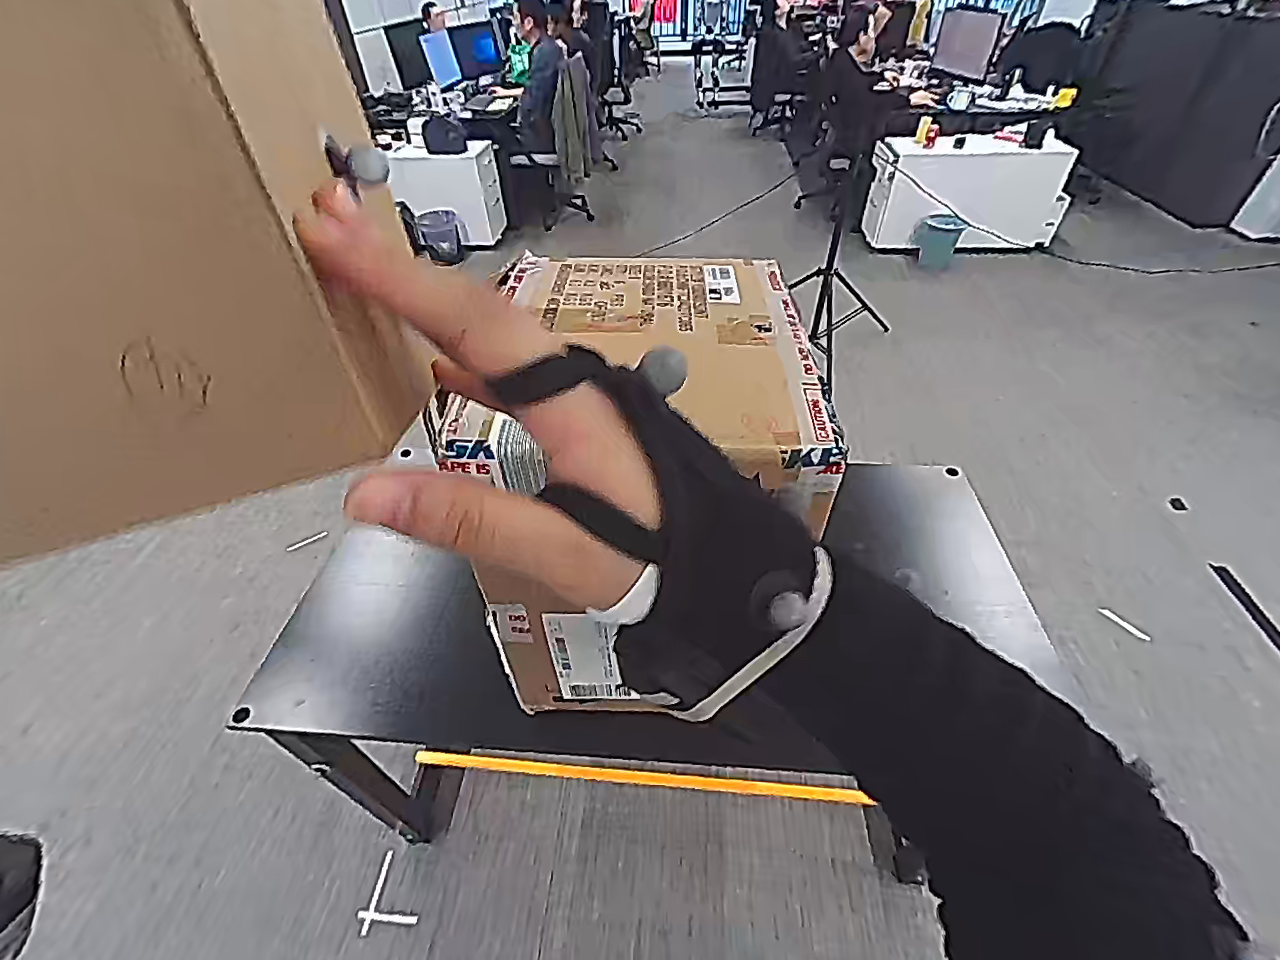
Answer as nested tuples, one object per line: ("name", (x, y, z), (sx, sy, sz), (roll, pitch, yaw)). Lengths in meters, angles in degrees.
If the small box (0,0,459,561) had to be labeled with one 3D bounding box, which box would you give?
("small box", (-0.171, -0.090, 0.176), (0.168, 0.179, 0.176), (-16, 23, -7))
